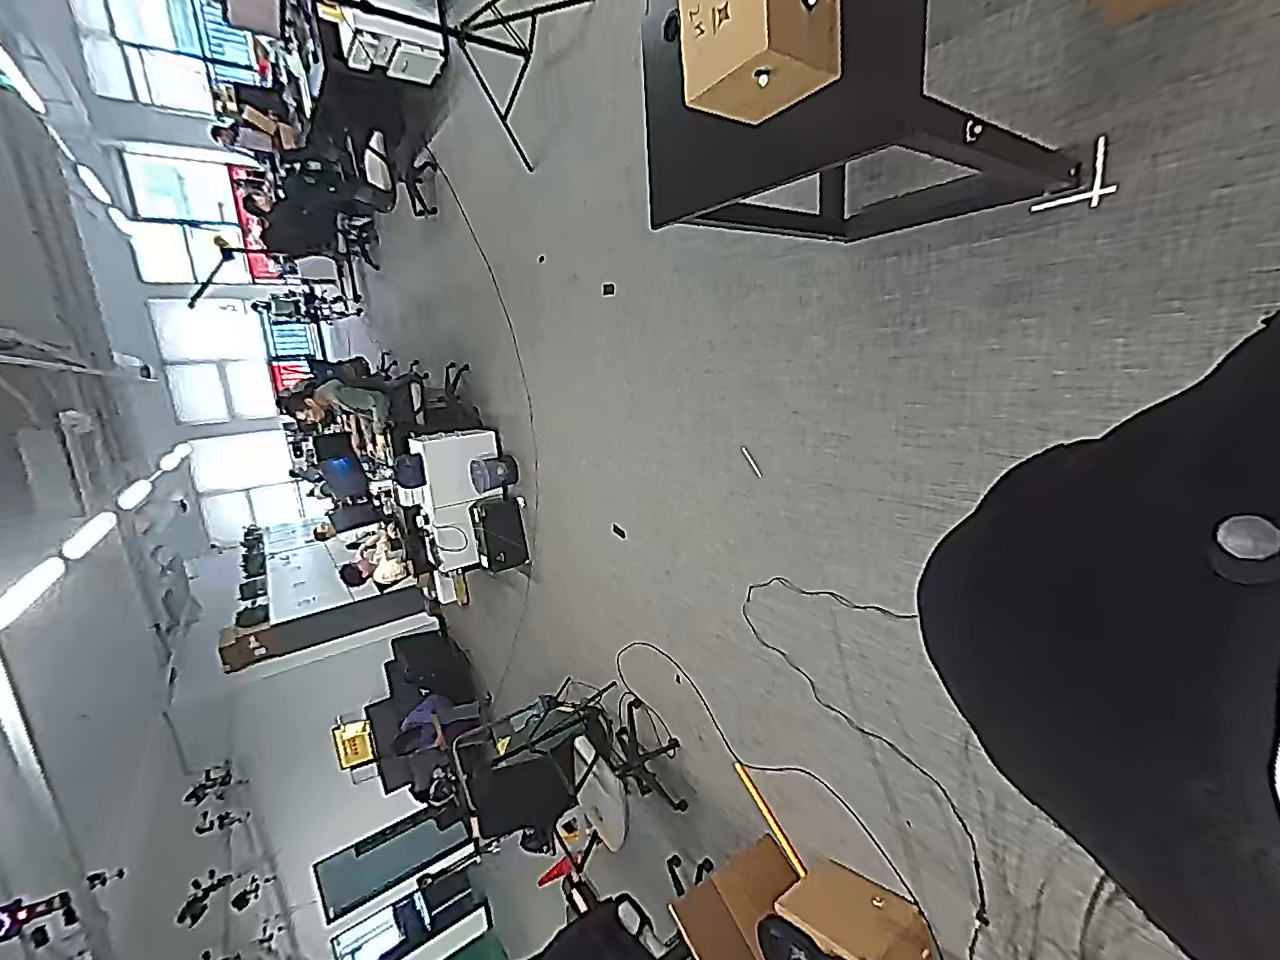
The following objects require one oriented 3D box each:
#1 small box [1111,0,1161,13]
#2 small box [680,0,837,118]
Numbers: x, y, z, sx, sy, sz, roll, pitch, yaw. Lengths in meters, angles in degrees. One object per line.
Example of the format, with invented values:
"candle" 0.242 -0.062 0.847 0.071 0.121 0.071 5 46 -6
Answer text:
"small box" 0.937 -0.969 0.942 0.179 0.176 0.168 12 111 52
"small box" 0.183 -0.687 0.823 0.179 0.176 0.168 11 109 54
